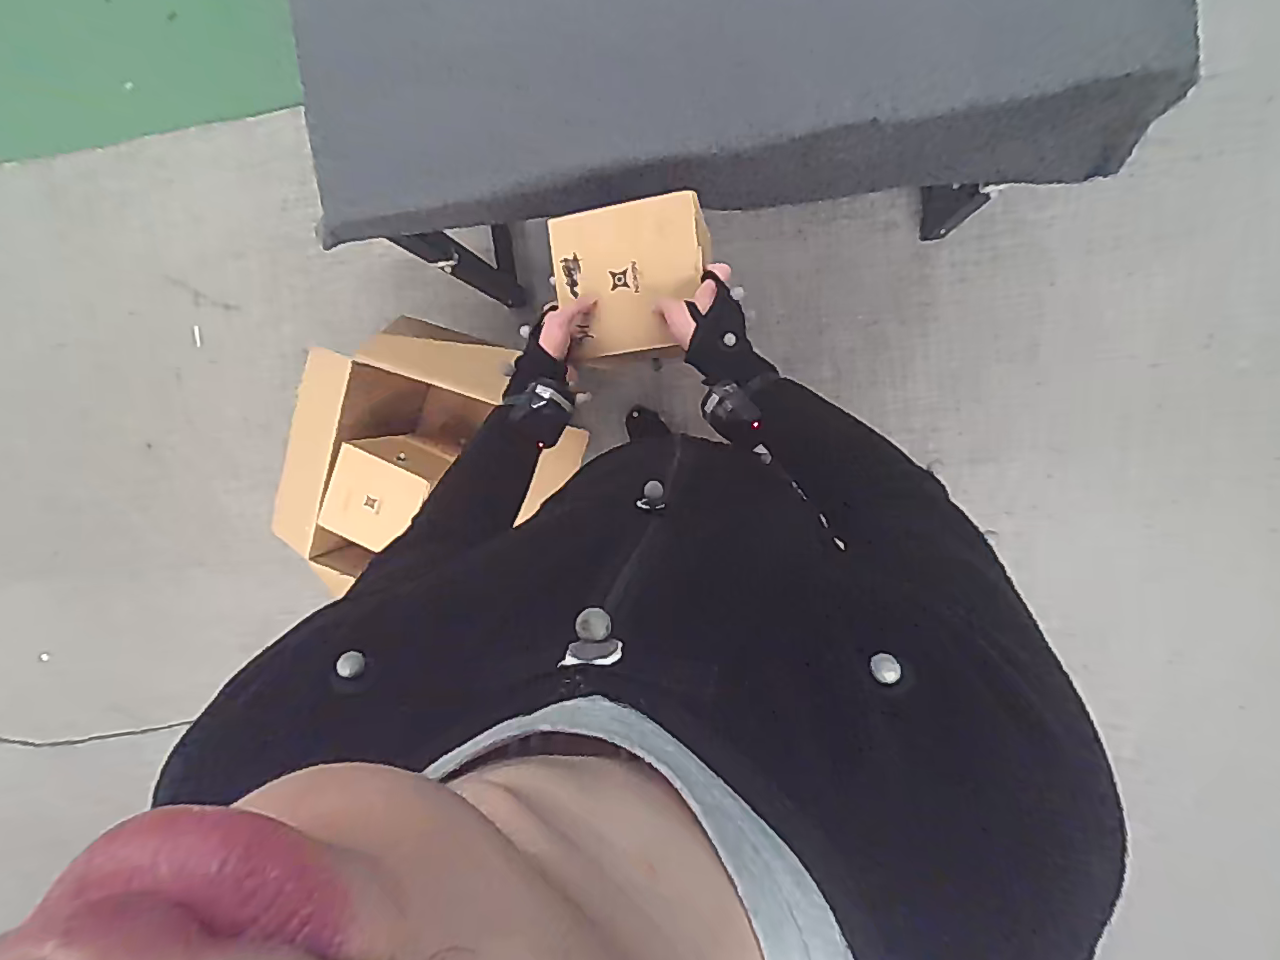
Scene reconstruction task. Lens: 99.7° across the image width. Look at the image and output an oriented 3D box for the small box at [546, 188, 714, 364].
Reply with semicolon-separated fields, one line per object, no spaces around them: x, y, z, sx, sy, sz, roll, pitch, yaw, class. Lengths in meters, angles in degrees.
0.000;-0.244;0.691;0.179;0.176;0.168;-5;98;13;small box
